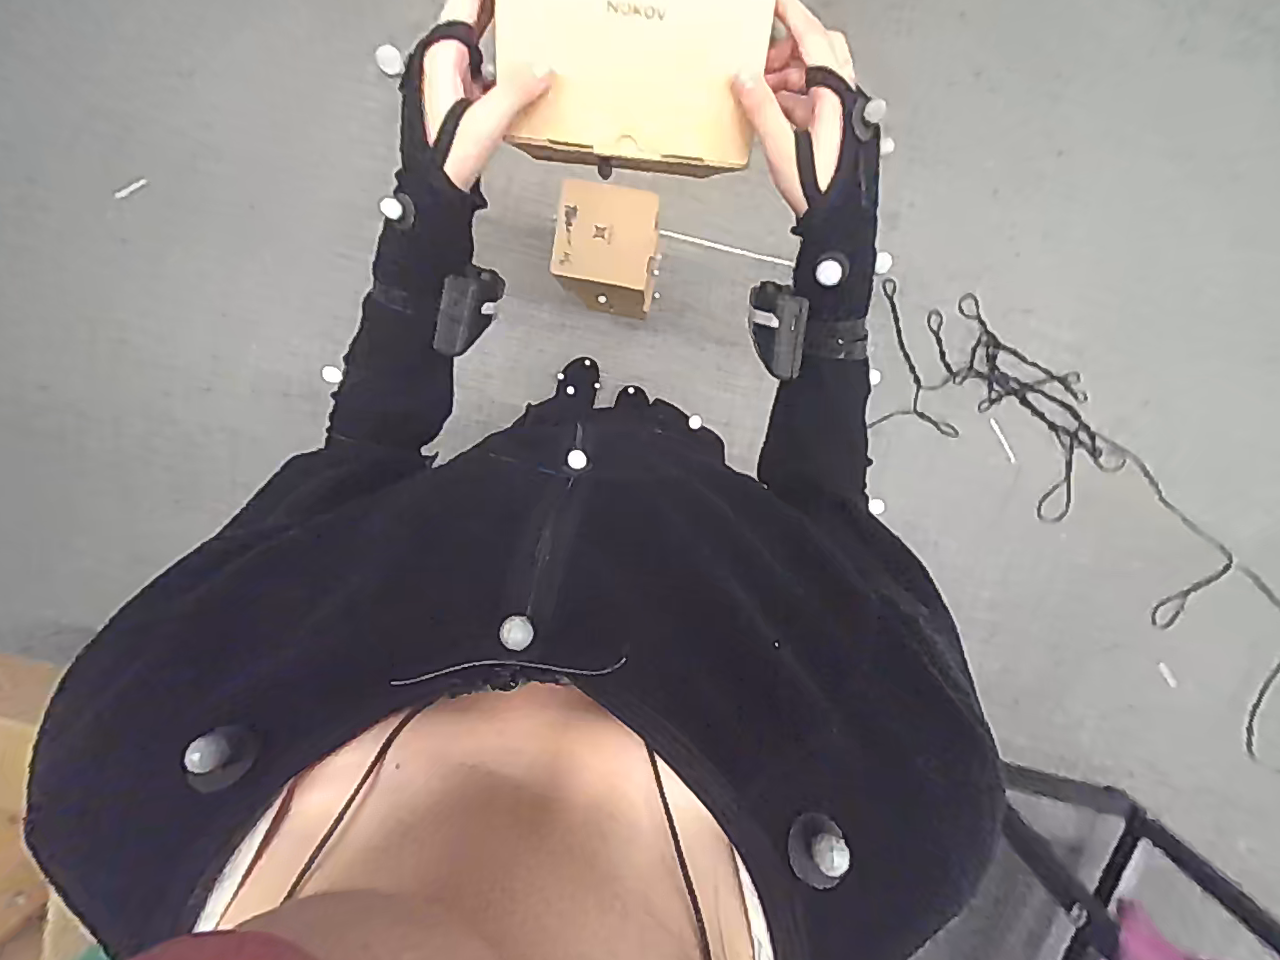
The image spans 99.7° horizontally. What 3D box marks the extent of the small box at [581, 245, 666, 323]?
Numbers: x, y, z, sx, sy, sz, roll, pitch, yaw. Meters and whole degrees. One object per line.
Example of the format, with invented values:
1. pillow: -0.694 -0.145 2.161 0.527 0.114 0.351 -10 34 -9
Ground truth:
1. small box: -0.040 -0.498 1.348 0.179 0.176 0.168 13 98 -1

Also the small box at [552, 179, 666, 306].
1. small box: -0.055 -0.437 1.026 0.179 0.176 0.168 11 98 -1

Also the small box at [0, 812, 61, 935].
1. small box: -1.383 0.840 1.131 0.168 0.176 0.179 16 98 -2

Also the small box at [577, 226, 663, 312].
1. small box: -0.053 -0.477 1.186 0.179 0.176 0.168 13 100 -1
